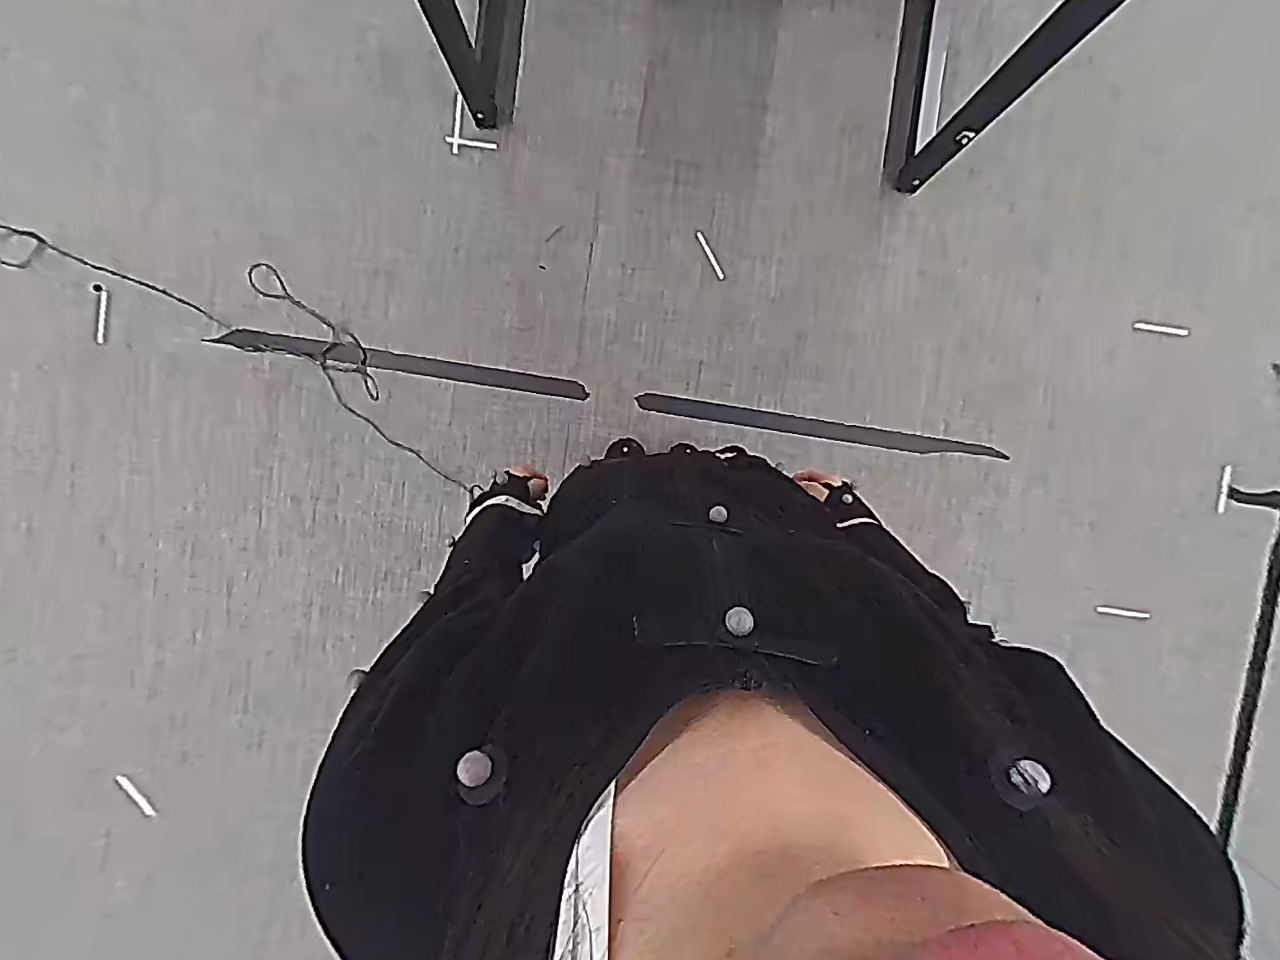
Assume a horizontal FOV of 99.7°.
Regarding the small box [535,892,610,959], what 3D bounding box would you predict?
[{"bbox_3d":[-0.186,1.278,1.479,0.179,0.176,0.168,16,92,-4],"label":"small box"}]
